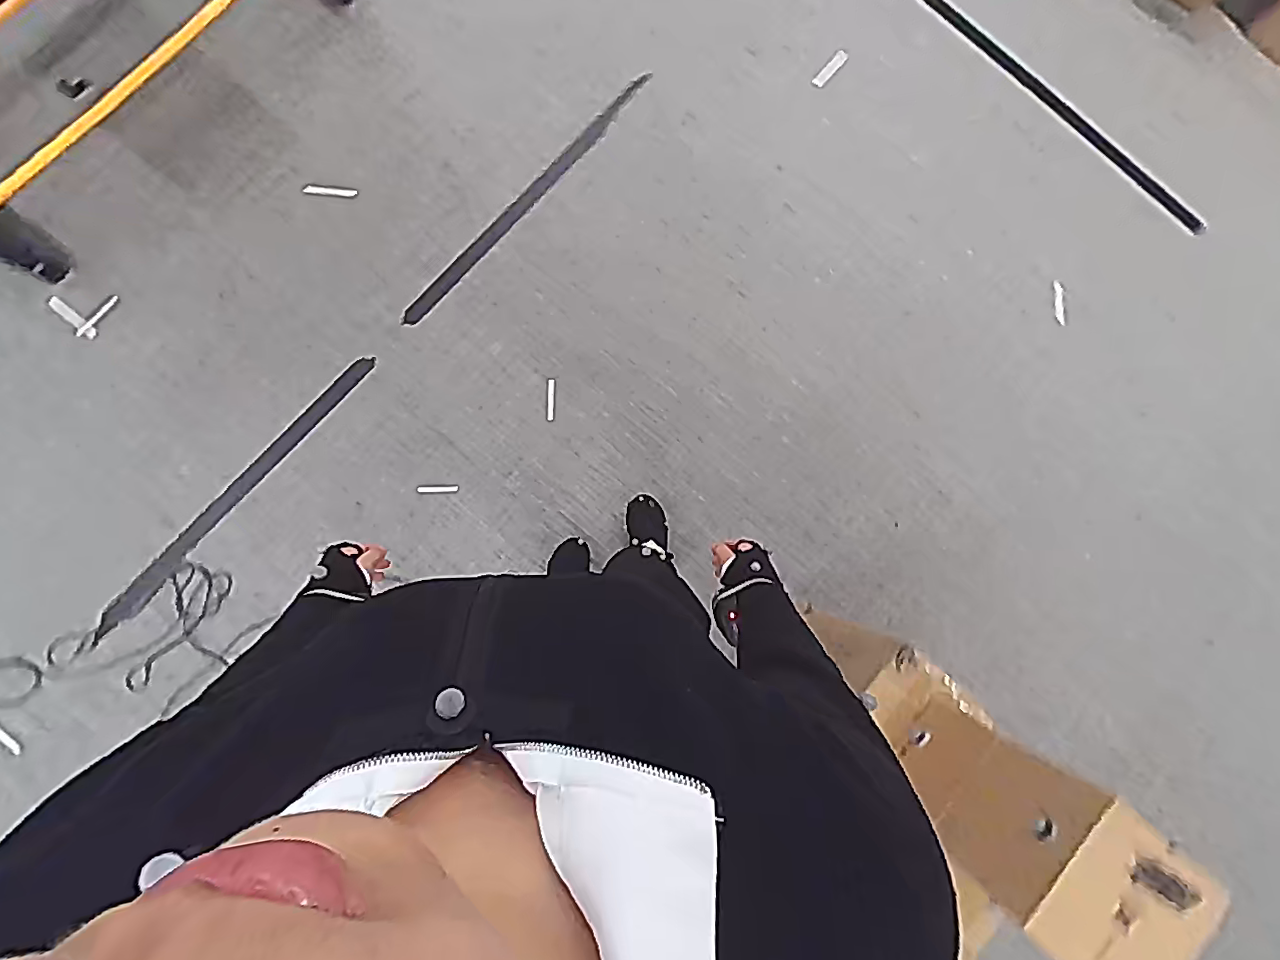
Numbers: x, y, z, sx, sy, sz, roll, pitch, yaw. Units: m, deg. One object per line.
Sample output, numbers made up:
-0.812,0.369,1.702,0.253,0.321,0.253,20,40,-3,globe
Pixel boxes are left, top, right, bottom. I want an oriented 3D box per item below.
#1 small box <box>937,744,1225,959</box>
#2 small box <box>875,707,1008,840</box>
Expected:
0.505,0.459,0.648,0.168,0.176,0.179,41,84,2,small box
0.499,0.476,0.812,0.179,0.176,0.168,41,83,3,small box
